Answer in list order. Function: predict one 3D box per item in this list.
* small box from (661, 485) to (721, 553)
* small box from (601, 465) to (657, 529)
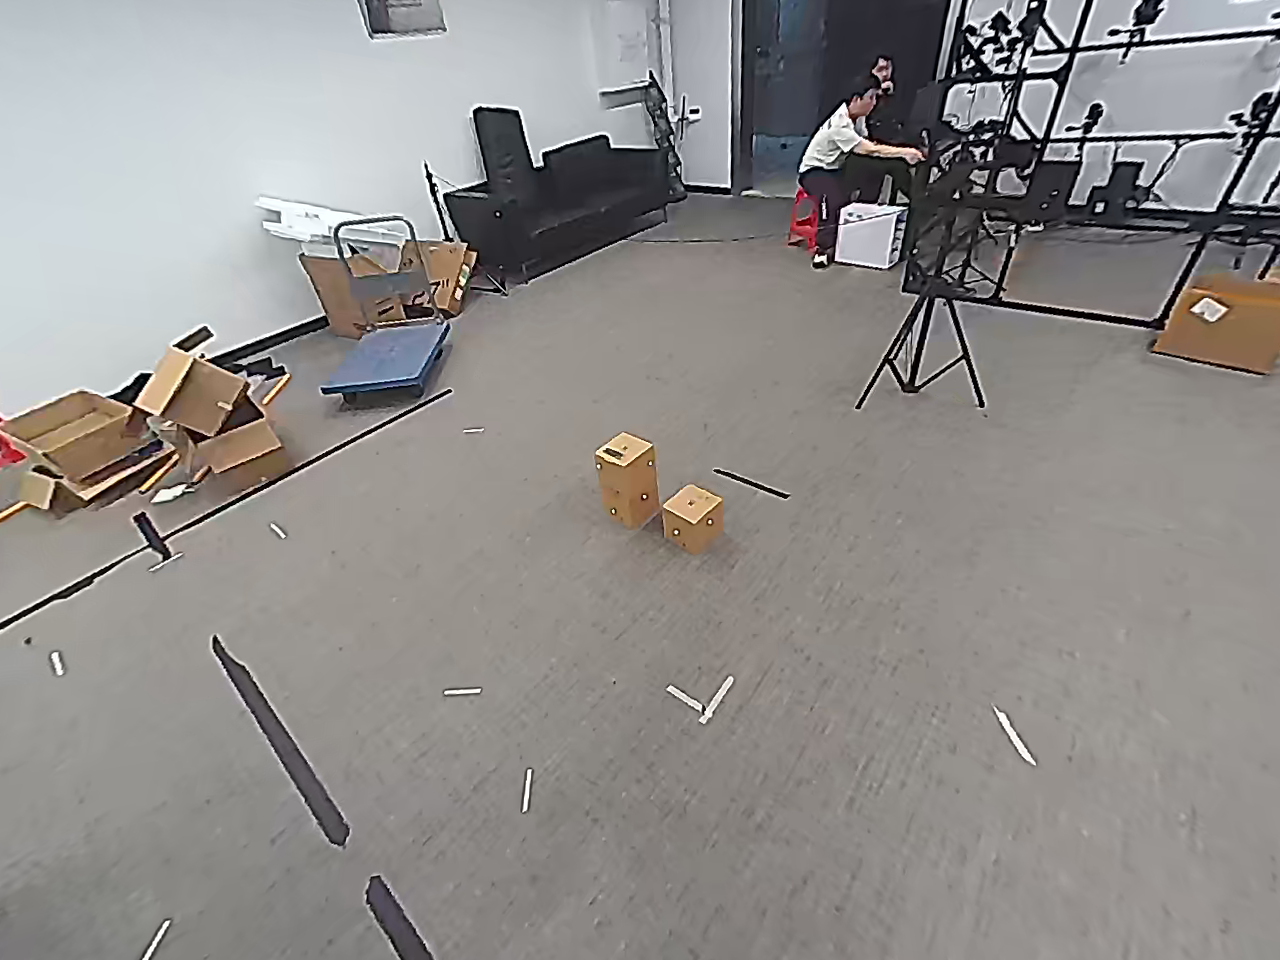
[{"bbox_3d":[0.204,0.155,2.111,0.168,0.176,0.179,27,49,35],"label":"small box"},{"bbox_3d":[-0.040,0.071,2.263,0.168,0.176,0.179,26,49,35],"label":"small box"}]
